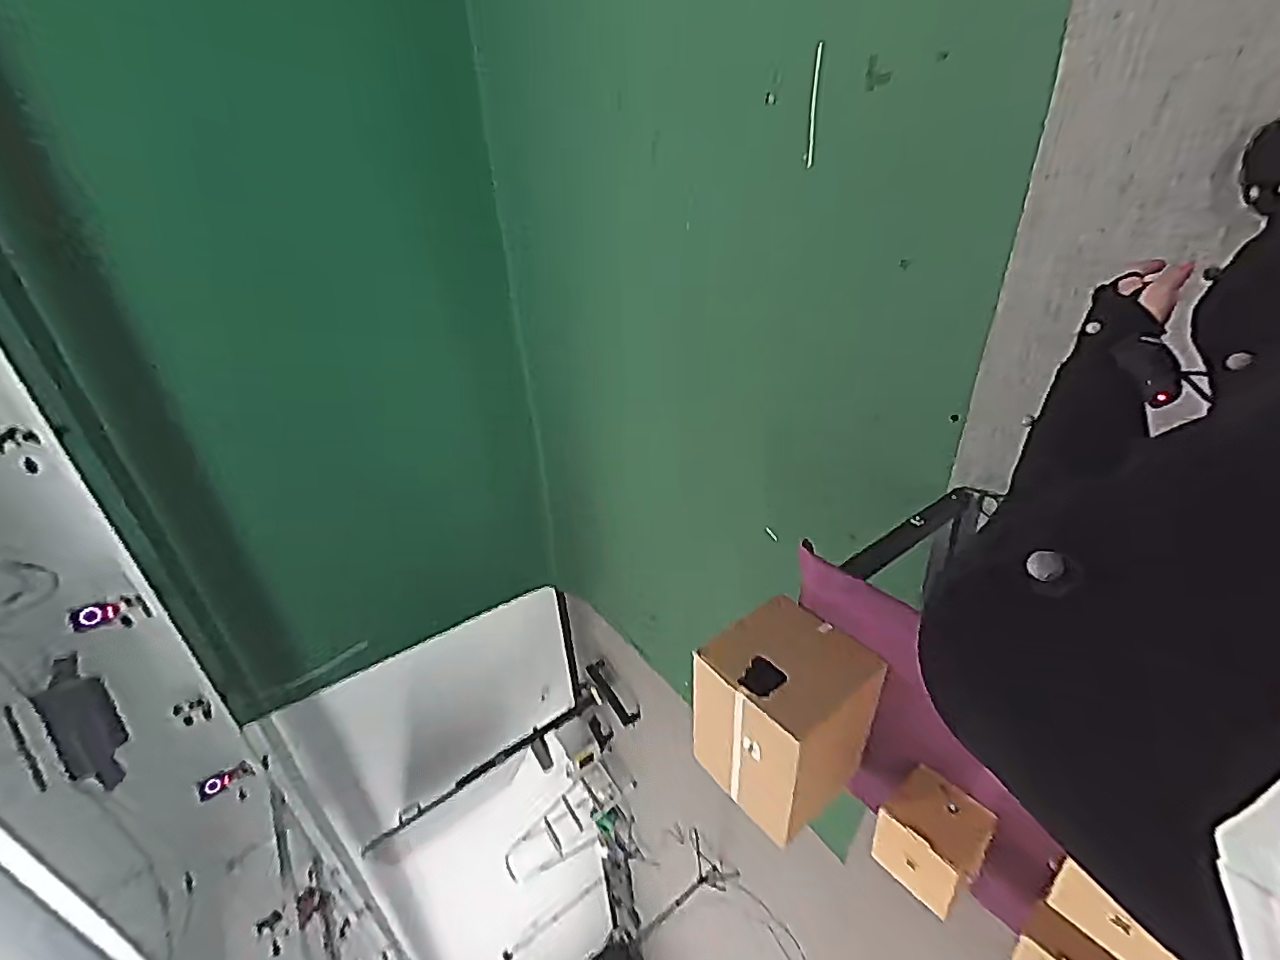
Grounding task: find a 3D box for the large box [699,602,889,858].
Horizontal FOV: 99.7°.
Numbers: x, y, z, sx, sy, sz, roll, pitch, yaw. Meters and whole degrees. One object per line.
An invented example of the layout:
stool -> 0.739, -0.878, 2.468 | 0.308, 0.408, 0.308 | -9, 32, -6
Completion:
large box -> 0.359, 0.586, 1.316 | 0.320, 0.320, 0.408 | 29, 131, 45
